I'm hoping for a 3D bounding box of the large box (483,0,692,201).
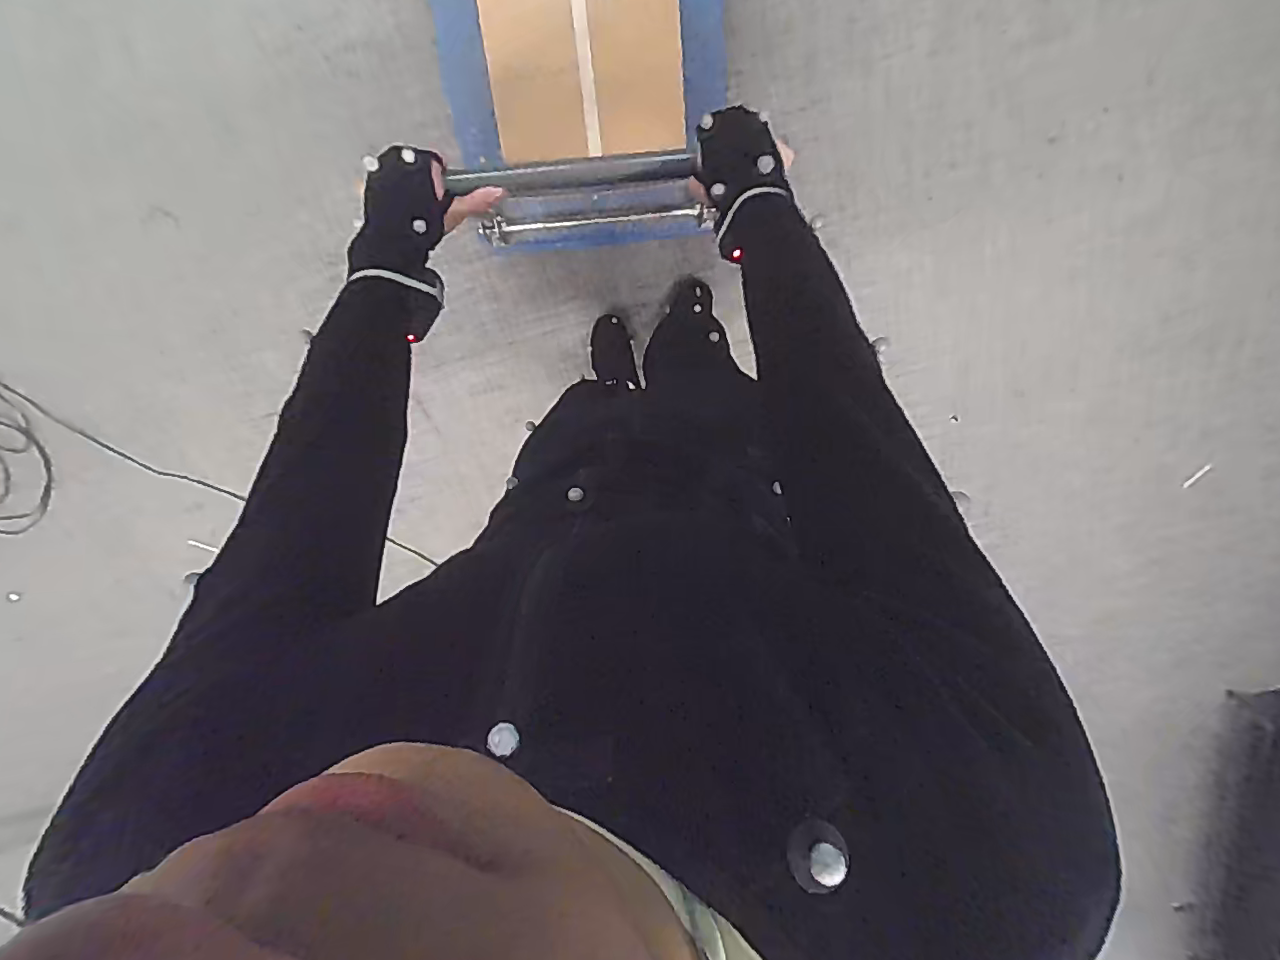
[{"bbox_3d":[-0.082,-0.763,0.989,0.320,0.320,0.408,-5,112,2],"label":"large box"}]
